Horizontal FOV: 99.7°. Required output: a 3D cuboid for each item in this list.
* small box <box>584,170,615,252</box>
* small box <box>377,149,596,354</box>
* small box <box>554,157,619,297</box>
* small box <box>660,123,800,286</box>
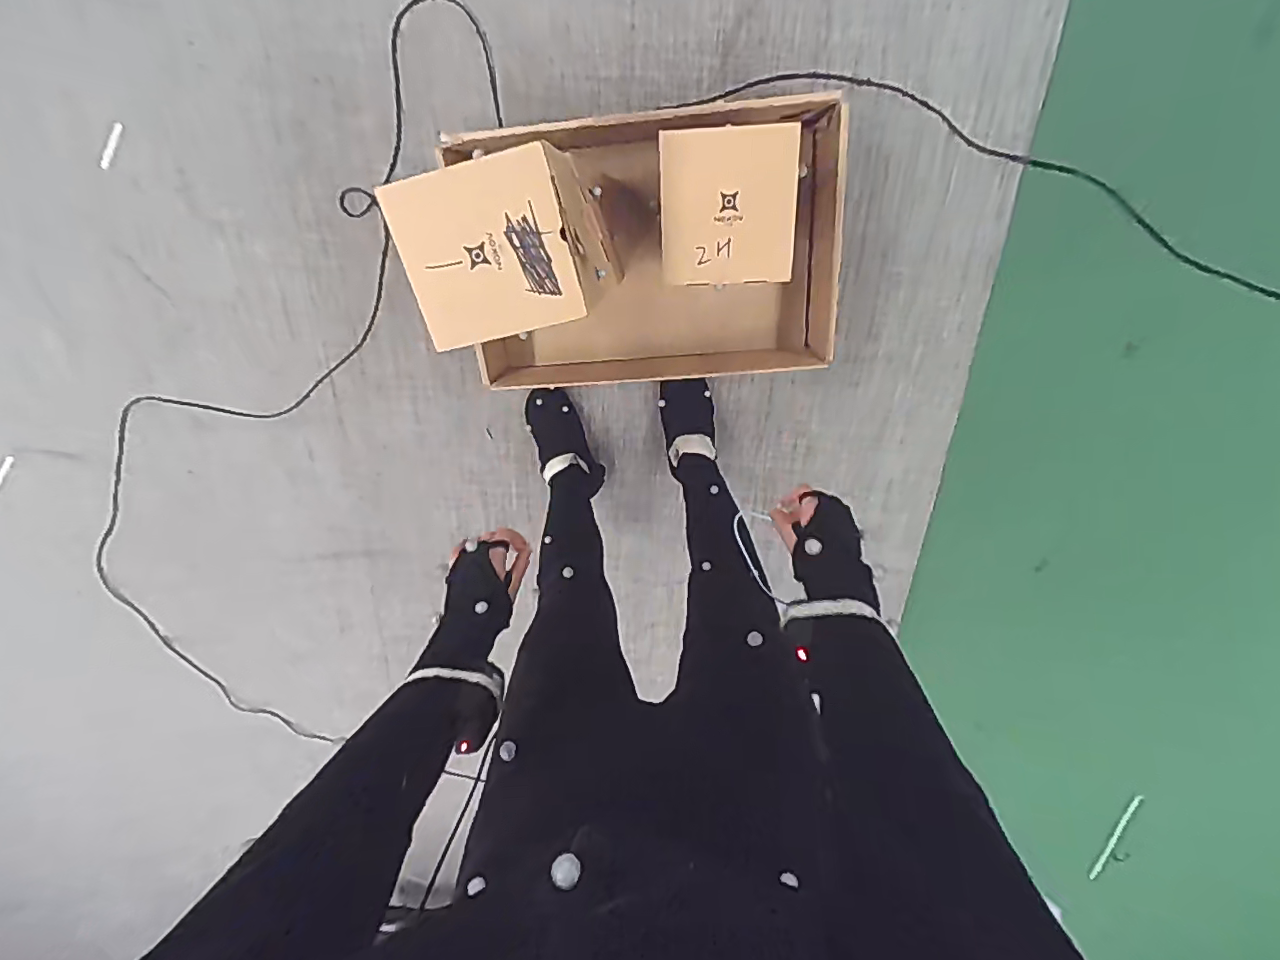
[{"bbox_3d":[-0.138,-0.414,0.907,0.179,0.176,0.168,-3,115,3],"label":"small box"},{"bbox_3d":[-0.154,-0.259,0.619,0.179,0.176,0.168,-11,114,8],"label":"small box"},{"bbox_3d":[-0.135,-0.332,0.766,0.179,0.176,0.168,-18,113,11],"label":"small box"},{"bbox_3d":[0.111,-0.362,0.732,0.168,0.176,0.179,0,115,5],"label":"small box"}]
